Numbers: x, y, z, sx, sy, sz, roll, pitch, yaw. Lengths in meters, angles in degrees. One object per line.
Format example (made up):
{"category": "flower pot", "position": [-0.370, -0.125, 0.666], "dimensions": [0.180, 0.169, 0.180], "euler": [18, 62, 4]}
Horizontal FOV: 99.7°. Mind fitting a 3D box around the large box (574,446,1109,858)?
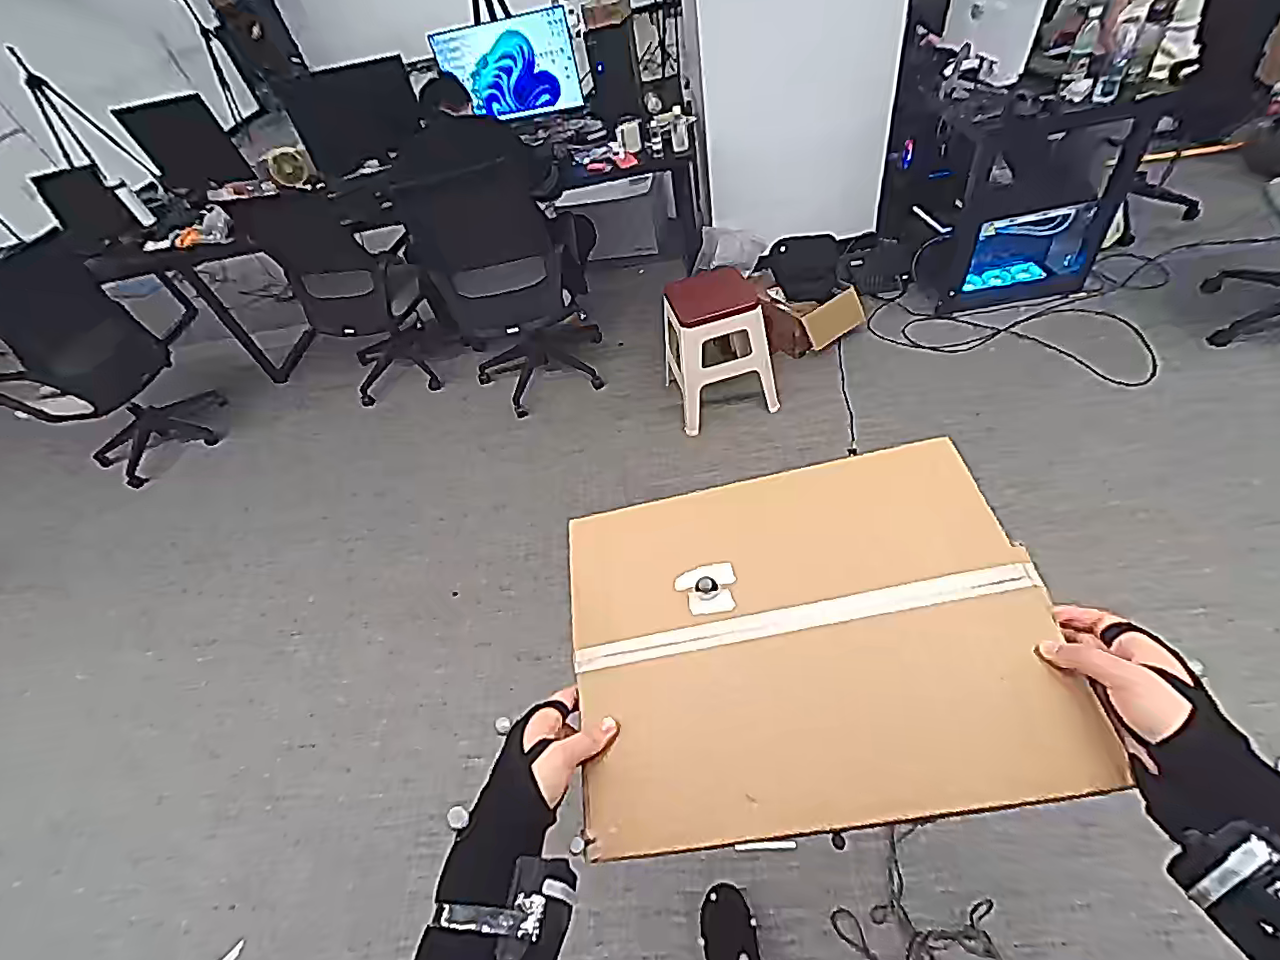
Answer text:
{"category": "large box", "position": [0.172, 0.213, 0.620], "dimensions": [0.408, 0.320, 0.320], "euler": [-14, 54, 9]}
